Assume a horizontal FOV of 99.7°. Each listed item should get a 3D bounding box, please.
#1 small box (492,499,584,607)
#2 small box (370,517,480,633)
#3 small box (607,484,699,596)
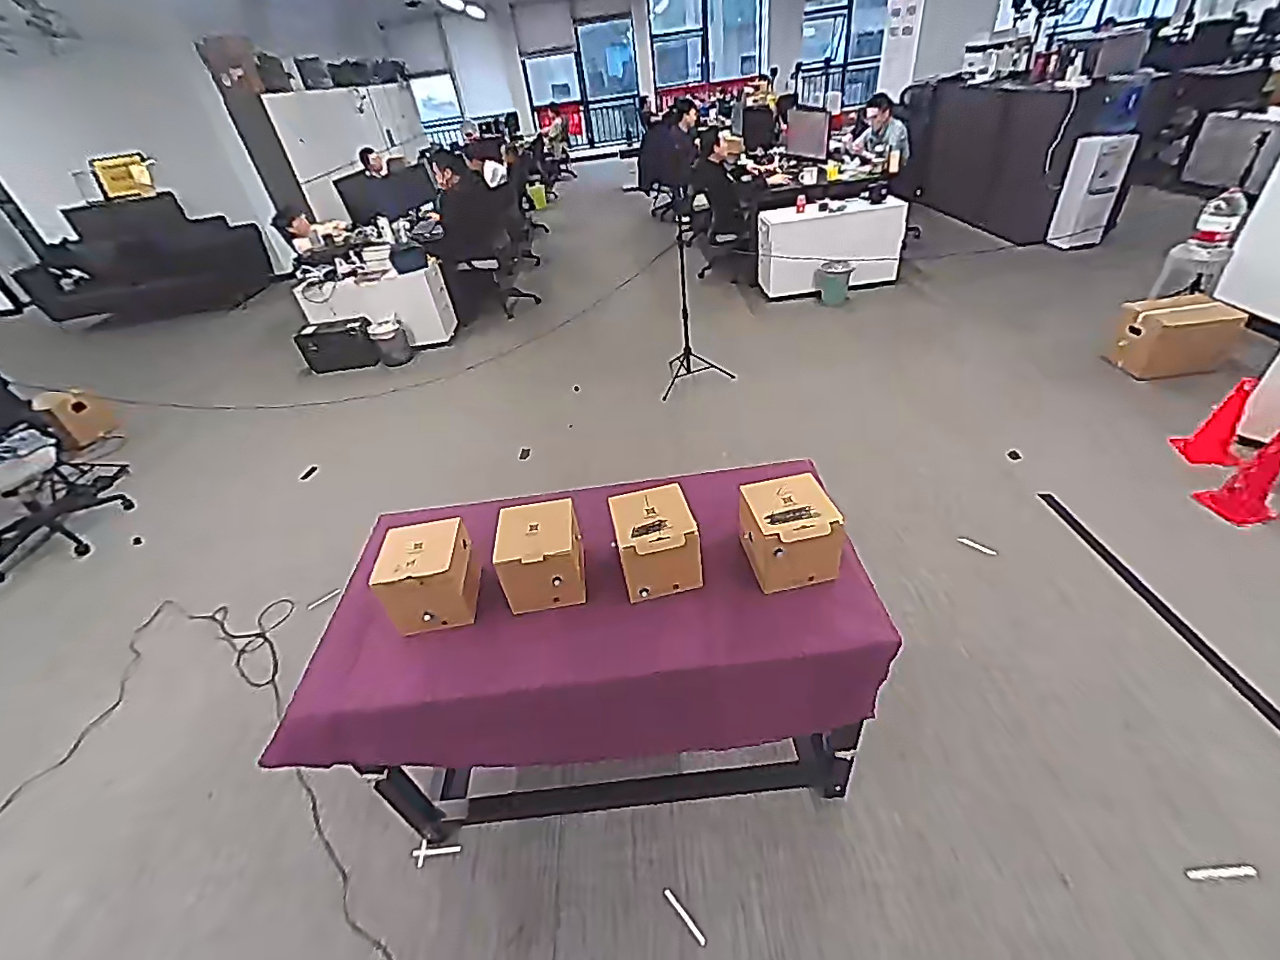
[{"bbox_3d":[-0.221,0.170,1.219,0.168,0.176,0.179,-8,37,-1],"label":"small box"},{"bbox_3d":[-0.467,0.212,1.209,0.168,0.176,0.179,-10,38,-1],"label":"small box"},{"bbox_3d":[0.030,0.139,1.208,0.168,0.176,0.179,-12,37,-5],"label":"small box"}]
